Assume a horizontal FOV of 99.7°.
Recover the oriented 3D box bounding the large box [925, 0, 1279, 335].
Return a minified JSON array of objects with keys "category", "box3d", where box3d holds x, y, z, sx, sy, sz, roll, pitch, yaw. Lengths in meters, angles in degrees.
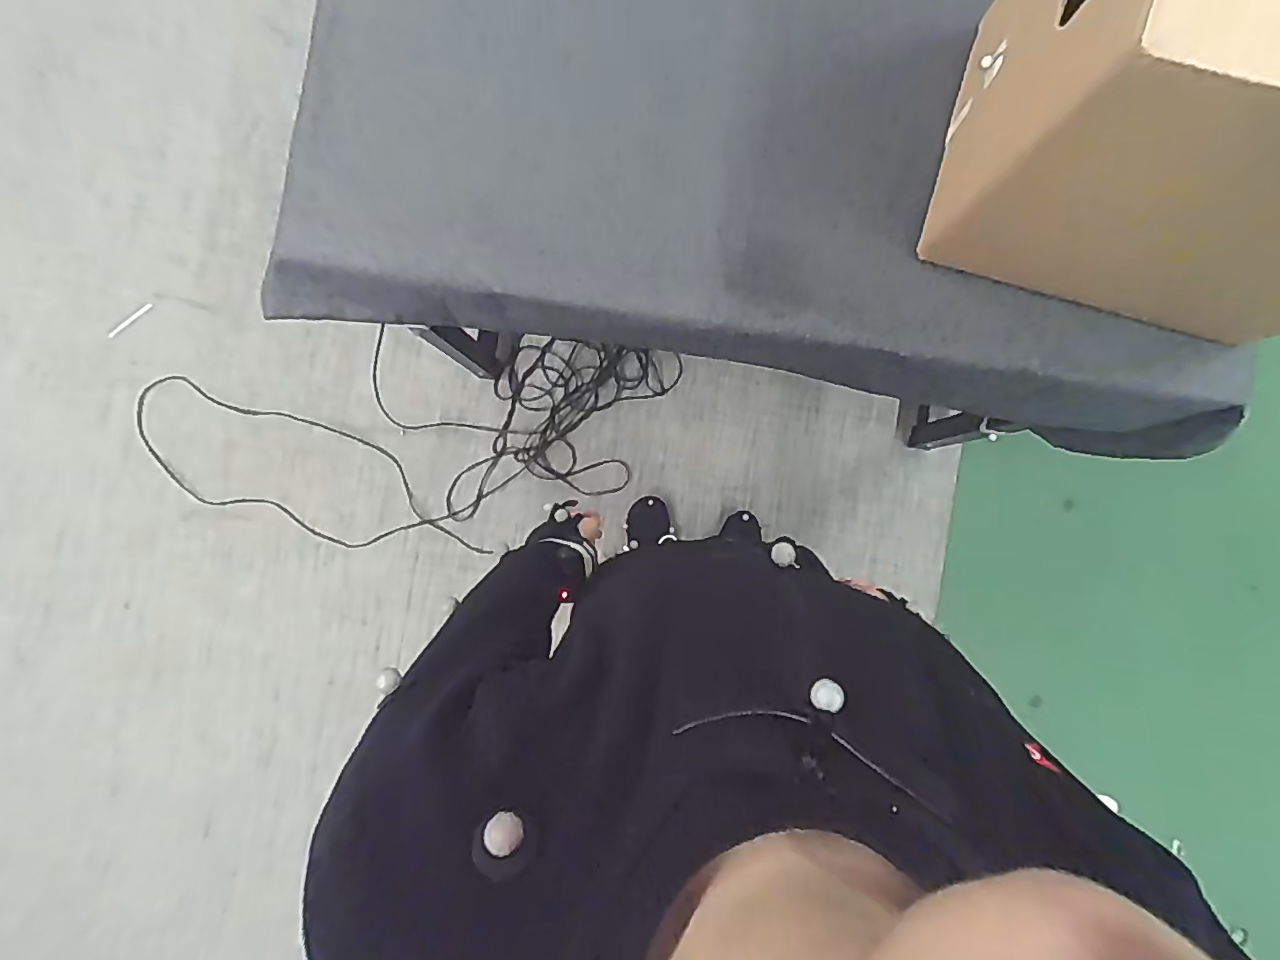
[{"category":"large box","box3d":[0.567,-0.374,0.512,0.408,0.320,0.320,16,88,1]}]
